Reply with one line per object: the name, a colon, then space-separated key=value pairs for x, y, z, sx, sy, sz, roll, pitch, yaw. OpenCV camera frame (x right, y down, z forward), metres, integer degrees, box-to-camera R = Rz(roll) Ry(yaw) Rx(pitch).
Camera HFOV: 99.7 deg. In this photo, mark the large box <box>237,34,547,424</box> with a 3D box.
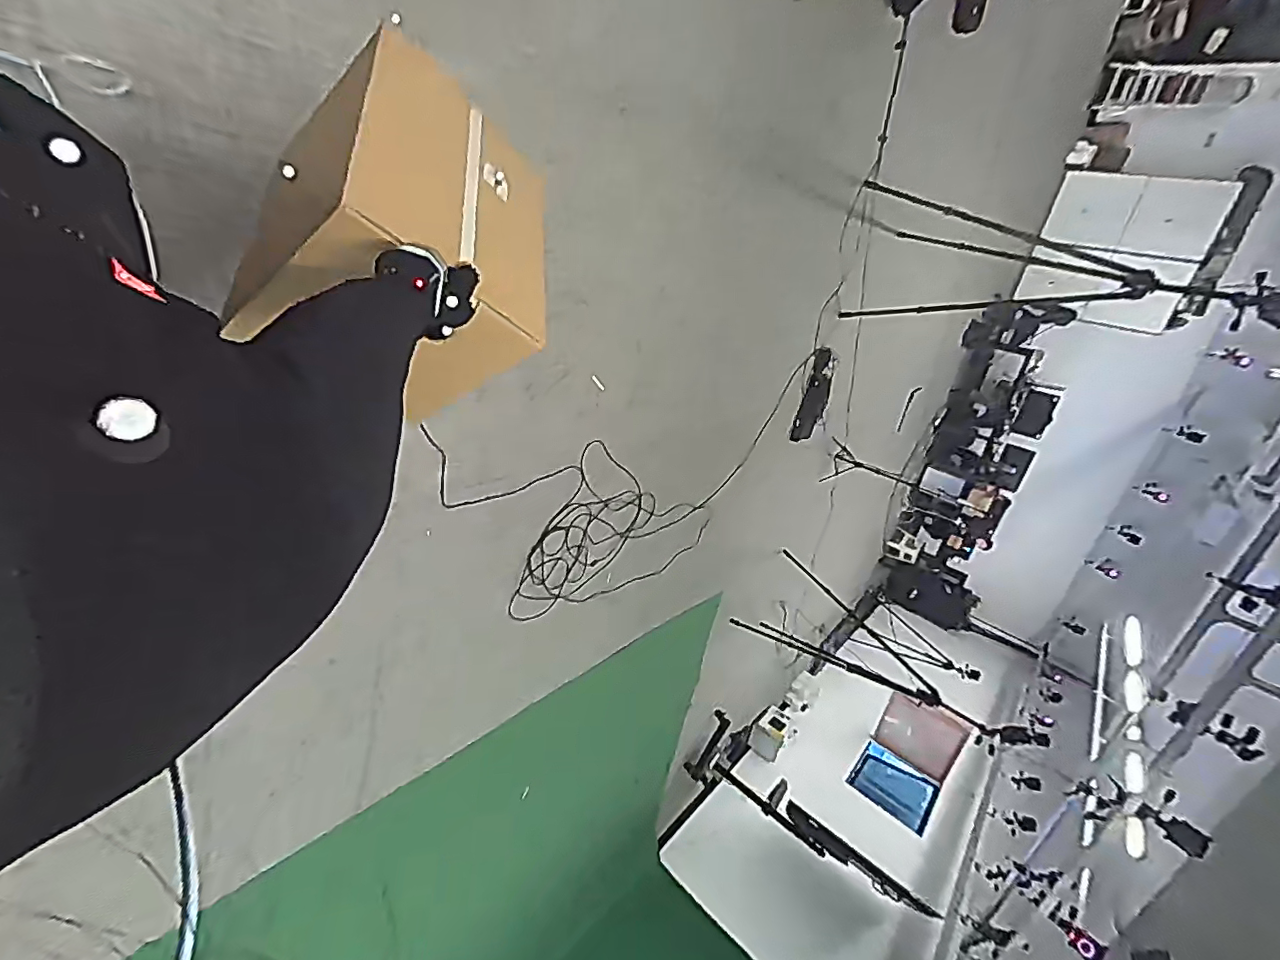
large box: x=-0.375 y=-0.365 z=0.869 sx=0.320 sy=0.320 sz=0.408 roll=30 pitch=45 yaw=-49
